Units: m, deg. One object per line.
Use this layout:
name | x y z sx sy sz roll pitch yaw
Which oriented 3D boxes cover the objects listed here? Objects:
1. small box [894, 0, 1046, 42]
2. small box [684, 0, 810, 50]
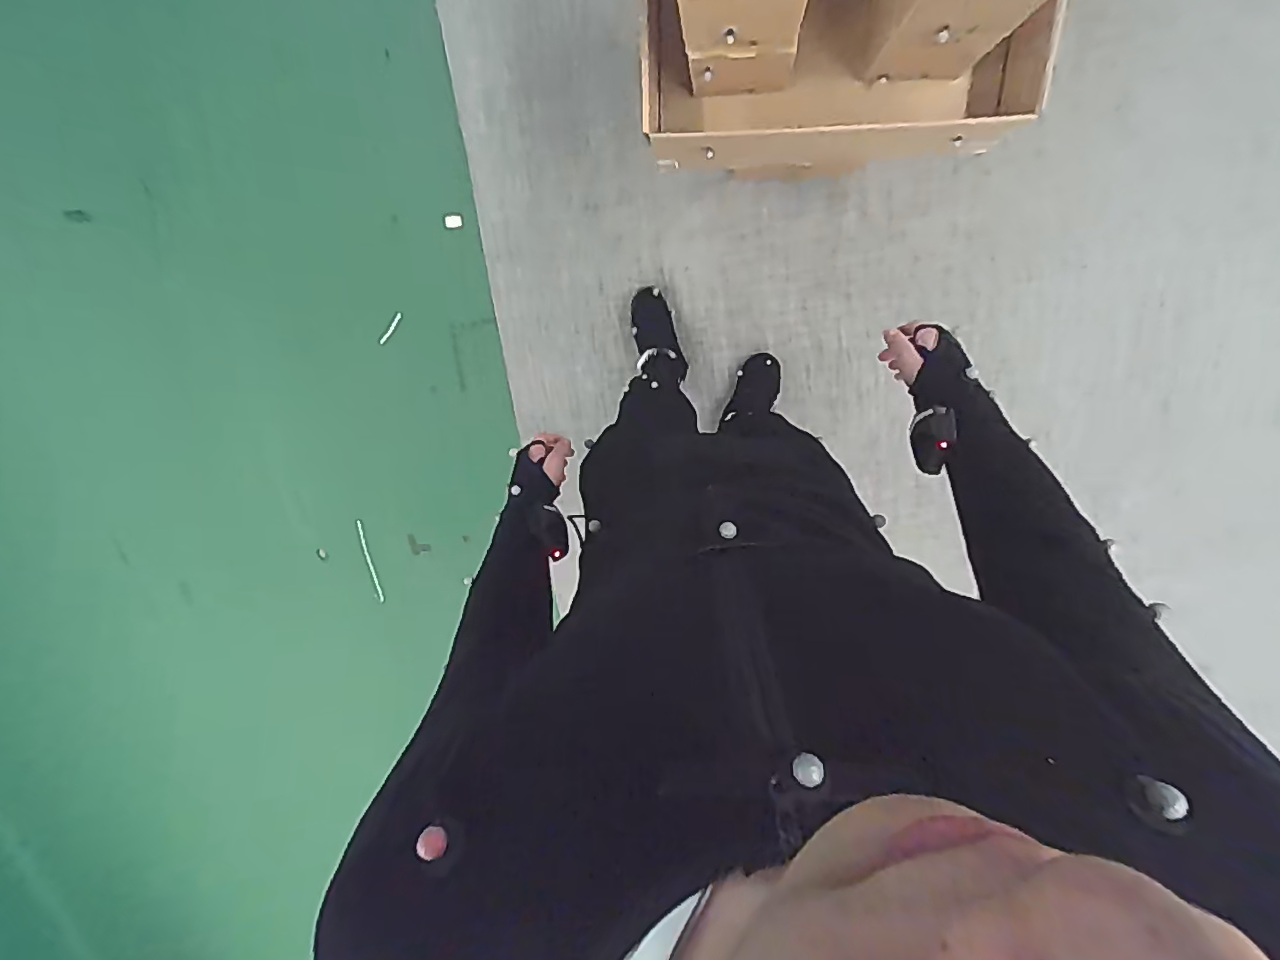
small box | 0.435 -0.692 0.676 0.168 0.176 0.179 4 109 8
small box | 0.144 -0.711 0.715 0.168 0.176 0.179 4 108 7
